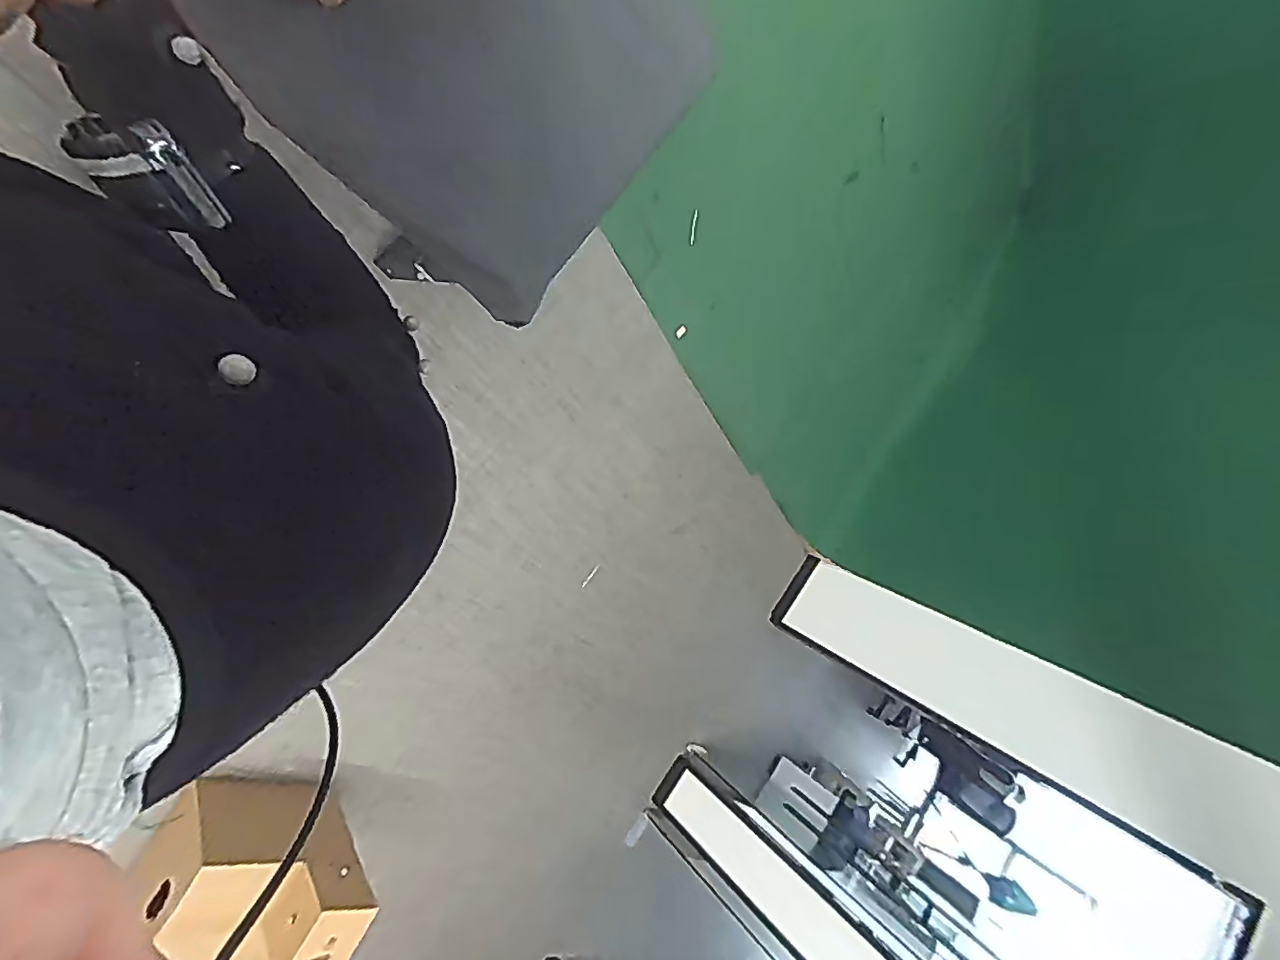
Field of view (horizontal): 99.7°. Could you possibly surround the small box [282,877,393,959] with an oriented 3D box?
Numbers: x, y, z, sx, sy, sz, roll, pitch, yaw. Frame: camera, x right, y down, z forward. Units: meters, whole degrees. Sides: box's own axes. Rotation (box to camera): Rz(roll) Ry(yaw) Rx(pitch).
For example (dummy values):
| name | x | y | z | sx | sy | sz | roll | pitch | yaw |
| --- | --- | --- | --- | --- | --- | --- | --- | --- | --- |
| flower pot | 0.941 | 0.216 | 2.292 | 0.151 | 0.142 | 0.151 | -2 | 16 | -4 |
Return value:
| name | x | y | z | sx | sy | sz | roll | pitch | yaw |
| --- | --- | --- | --- | --- | --- | --- | --- | --- | --- |
| small box | -0.773 | 1.156 | 1.373 | 0.168 | 0.176 | 0.179 | 43 | 71 | -44 |
